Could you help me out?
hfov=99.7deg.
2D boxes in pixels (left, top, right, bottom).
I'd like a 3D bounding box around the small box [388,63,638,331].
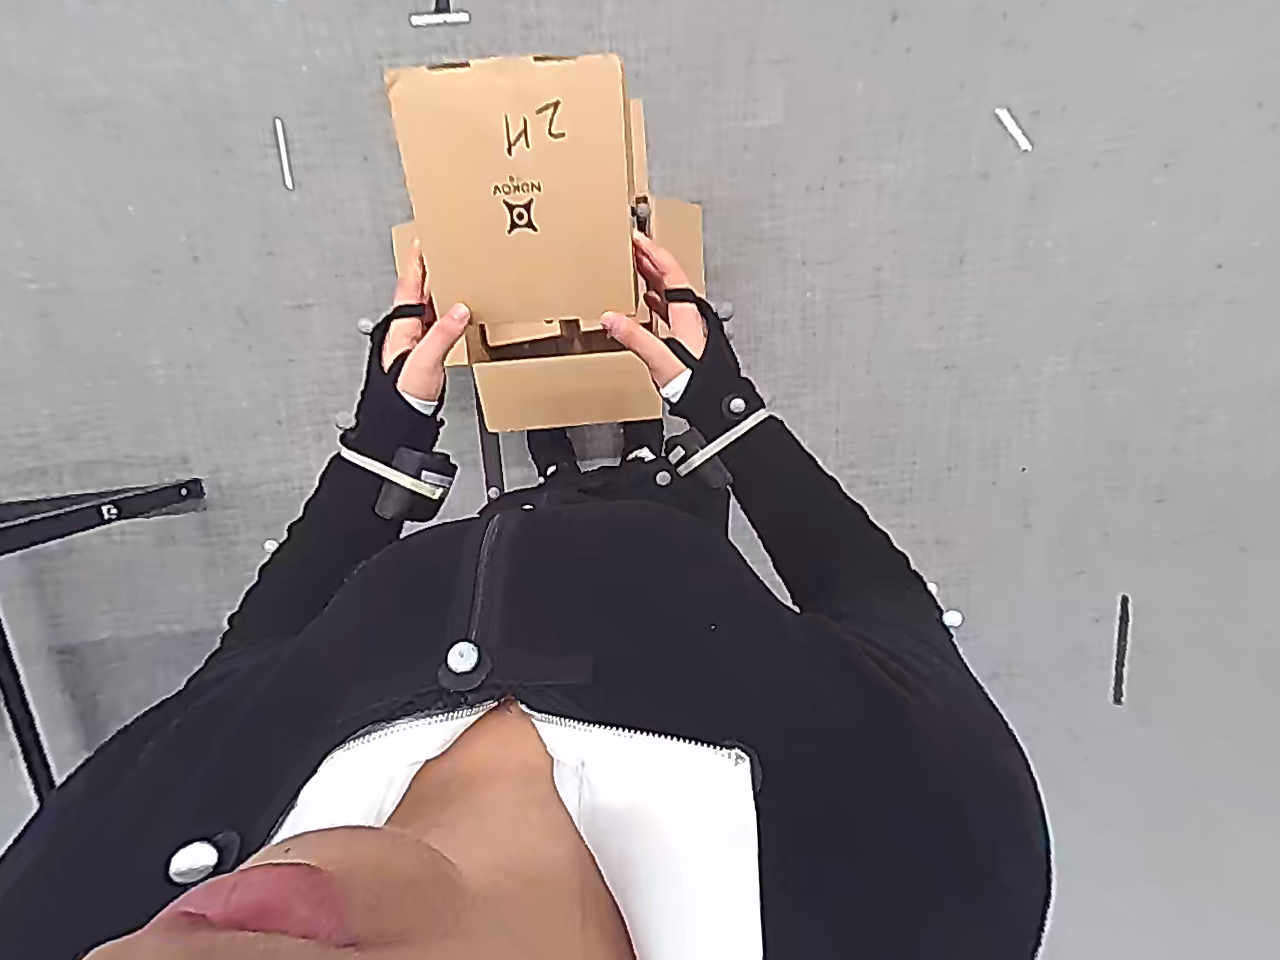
[{"bbox_3d":[-0.089,-0.239,0.480,0.168,0.176,0.179,-2,115,2],"label":"small box"}]
